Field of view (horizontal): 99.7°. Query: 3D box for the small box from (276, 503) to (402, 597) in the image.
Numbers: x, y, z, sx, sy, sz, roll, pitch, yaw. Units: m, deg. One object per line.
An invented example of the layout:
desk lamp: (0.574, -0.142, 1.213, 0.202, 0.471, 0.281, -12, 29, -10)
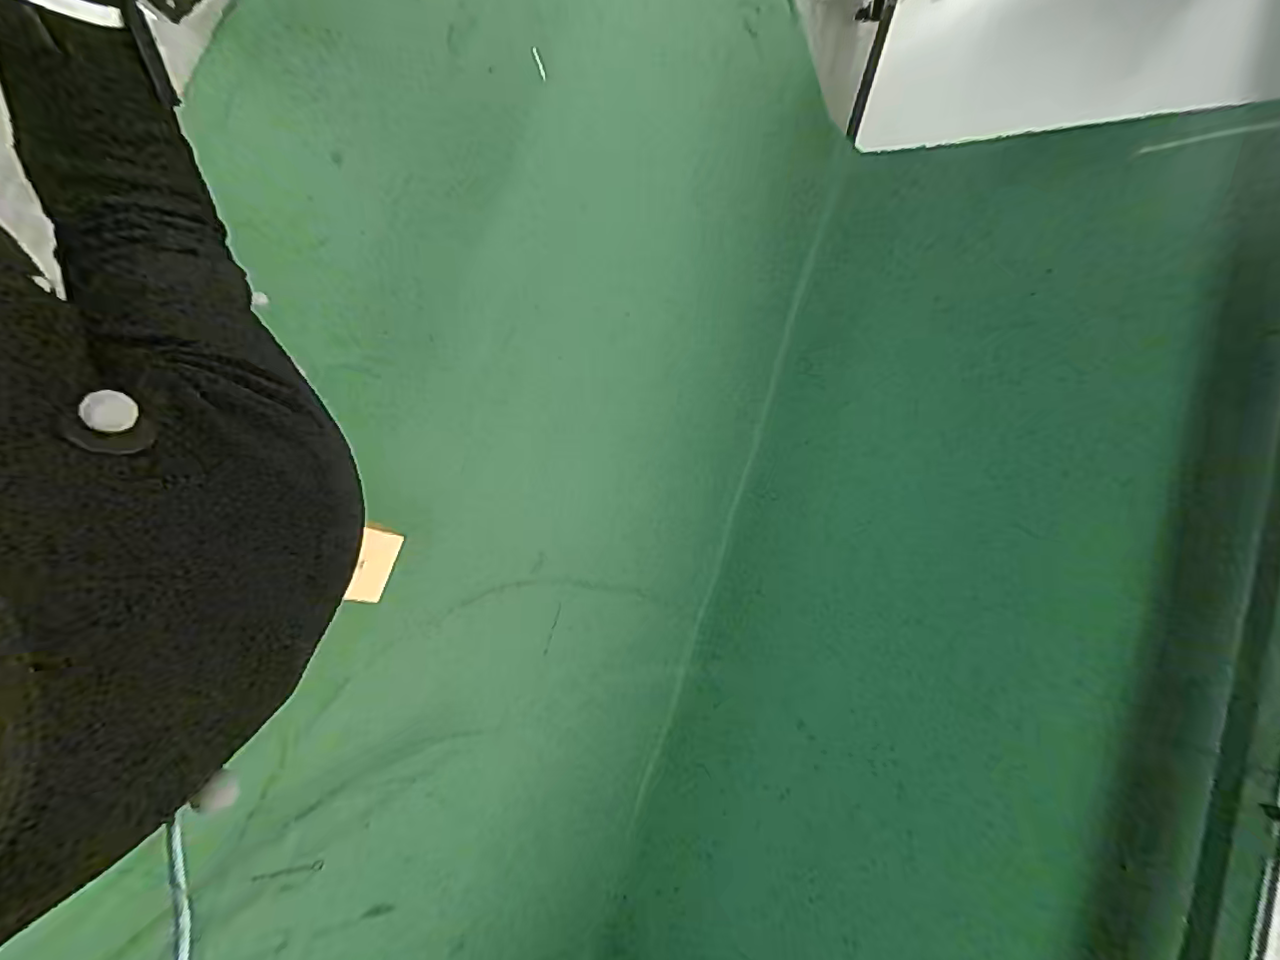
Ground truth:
small box: (-0.710, 0.164, 1.278, 0.179, 0.176, 0.168, 30, 78, -54)
